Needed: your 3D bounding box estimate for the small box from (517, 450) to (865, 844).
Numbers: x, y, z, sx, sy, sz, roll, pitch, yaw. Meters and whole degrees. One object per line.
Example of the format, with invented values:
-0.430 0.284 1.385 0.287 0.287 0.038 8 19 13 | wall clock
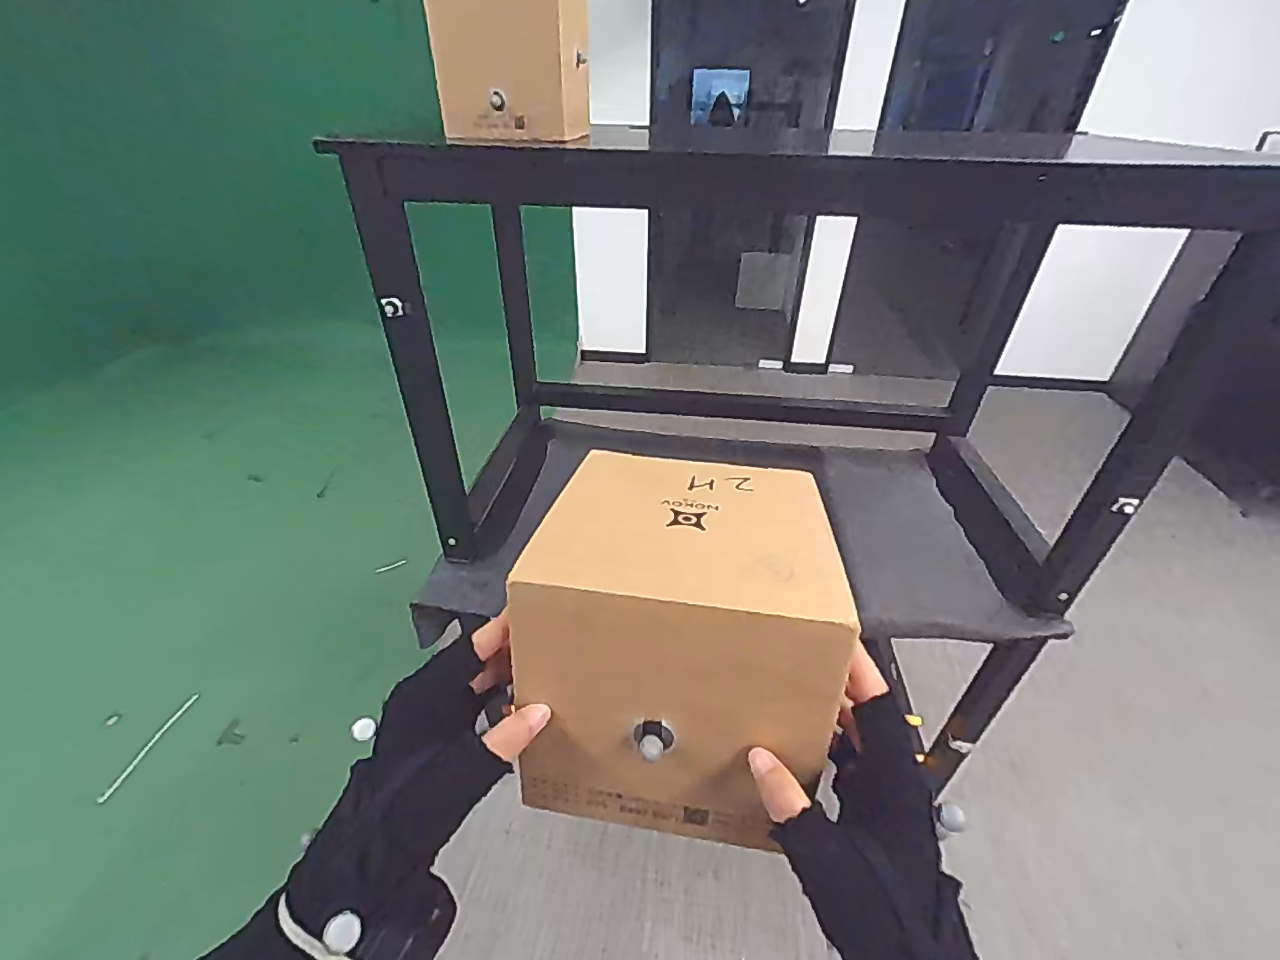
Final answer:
0.032 0.096 0.356 0.168 0.176 0.179 7 25 7 | small box
